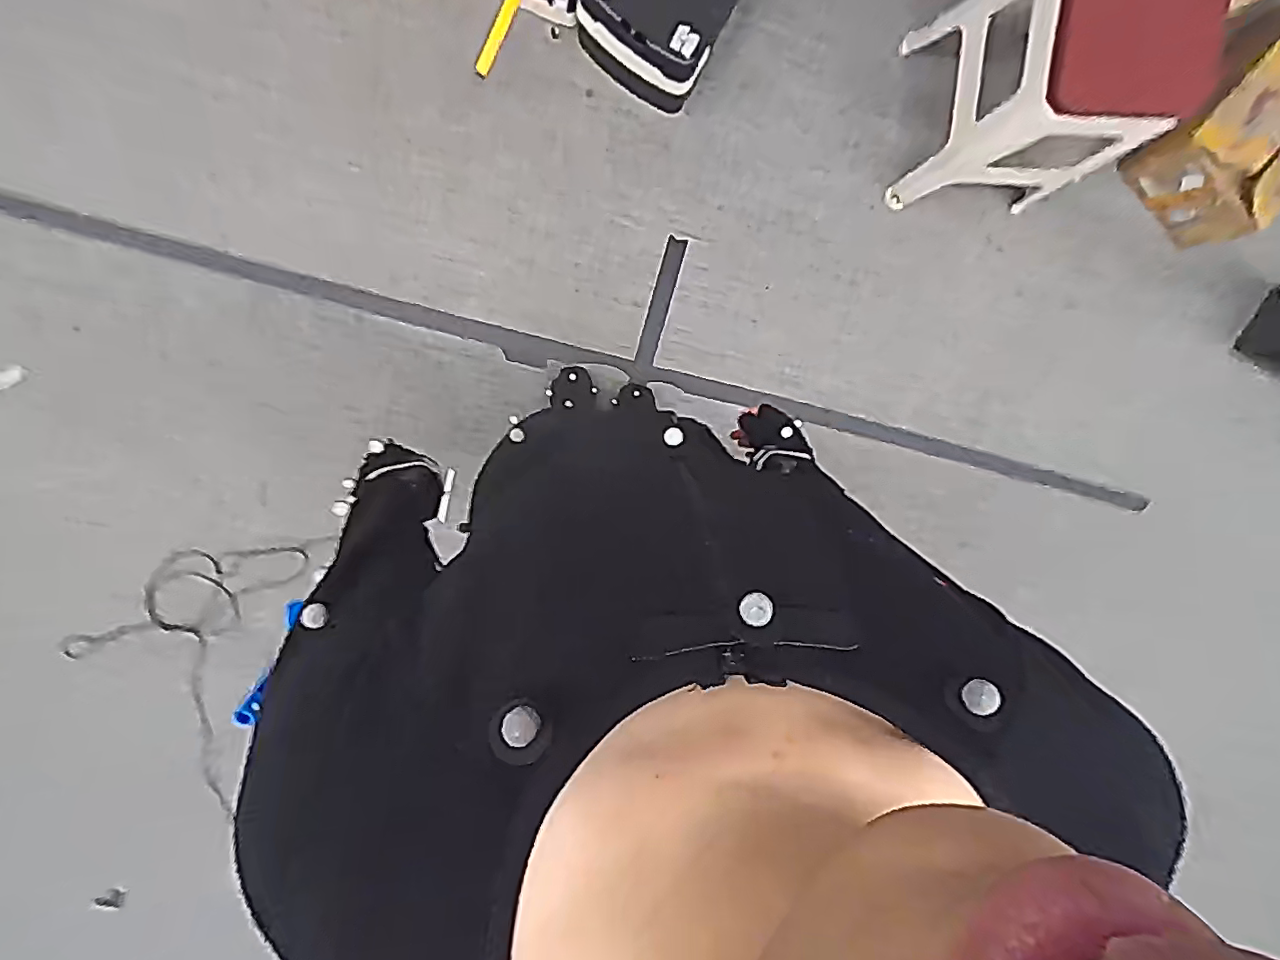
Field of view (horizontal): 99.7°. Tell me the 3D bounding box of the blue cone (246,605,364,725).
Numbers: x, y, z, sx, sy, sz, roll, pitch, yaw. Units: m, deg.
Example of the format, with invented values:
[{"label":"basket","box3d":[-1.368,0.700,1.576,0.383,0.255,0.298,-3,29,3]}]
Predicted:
[{"label":"blue cone","box3d":[-0.866,0.477,1.357,0.192,0.380,0.193,9,102,-7]}]
